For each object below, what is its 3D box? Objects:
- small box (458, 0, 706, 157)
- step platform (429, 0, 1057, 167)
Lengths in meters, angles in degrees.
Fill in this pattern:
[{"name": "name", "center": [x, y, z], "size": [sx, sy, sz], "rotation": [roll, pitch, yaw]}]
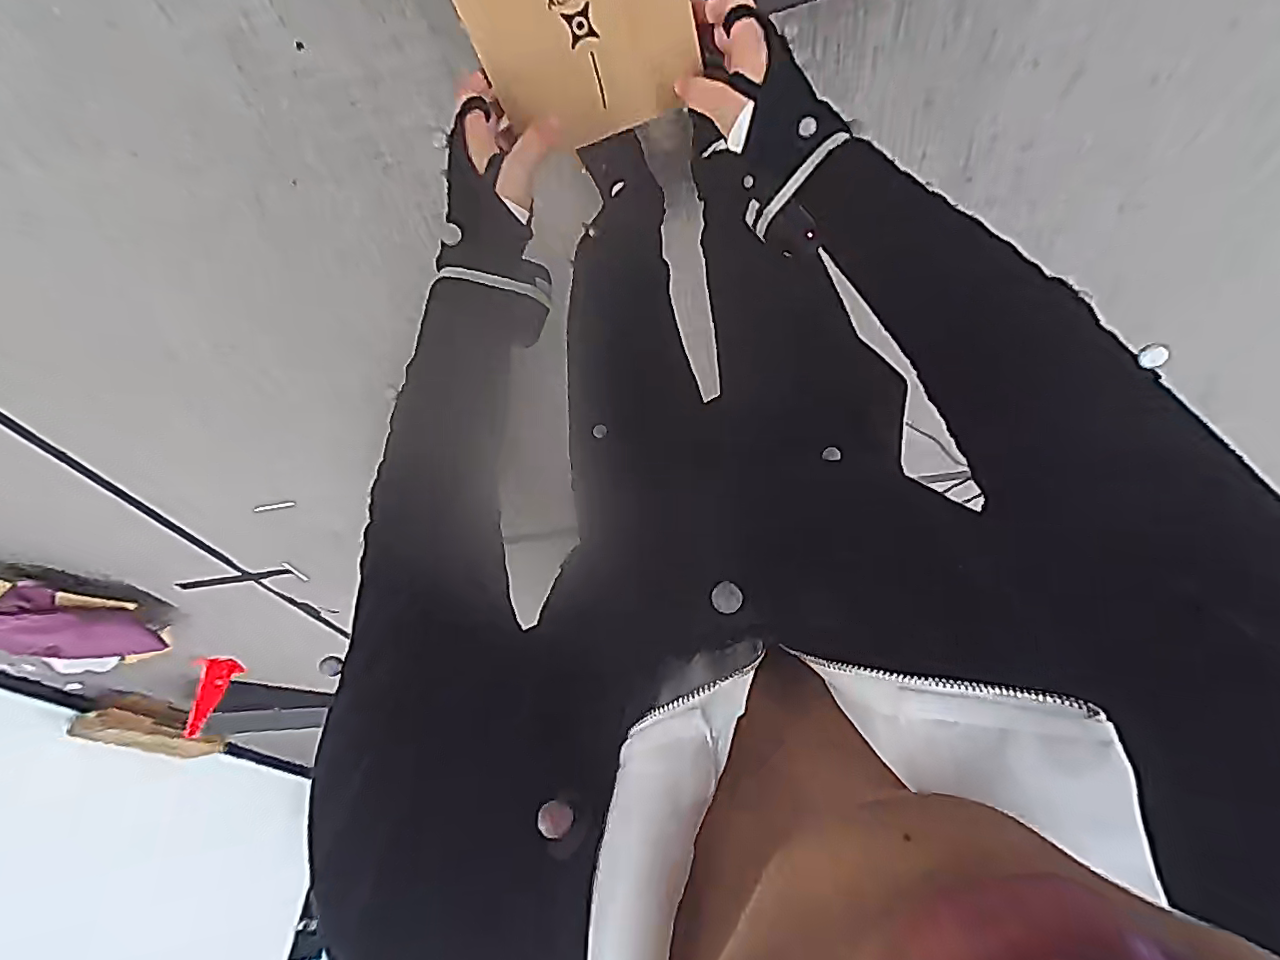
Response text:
[{"name": "small box", "center": [-0.055, -0.414, 0.442], "size": [0.168, 0.176, 0.179], "rotation": [-15, 144, 11]}, {"name": "step platform", "center": [0.113, -0.606, 0.595], "size": [0.684, 0.204, 0.286], "rotation": [-11, 139, 9]}]
